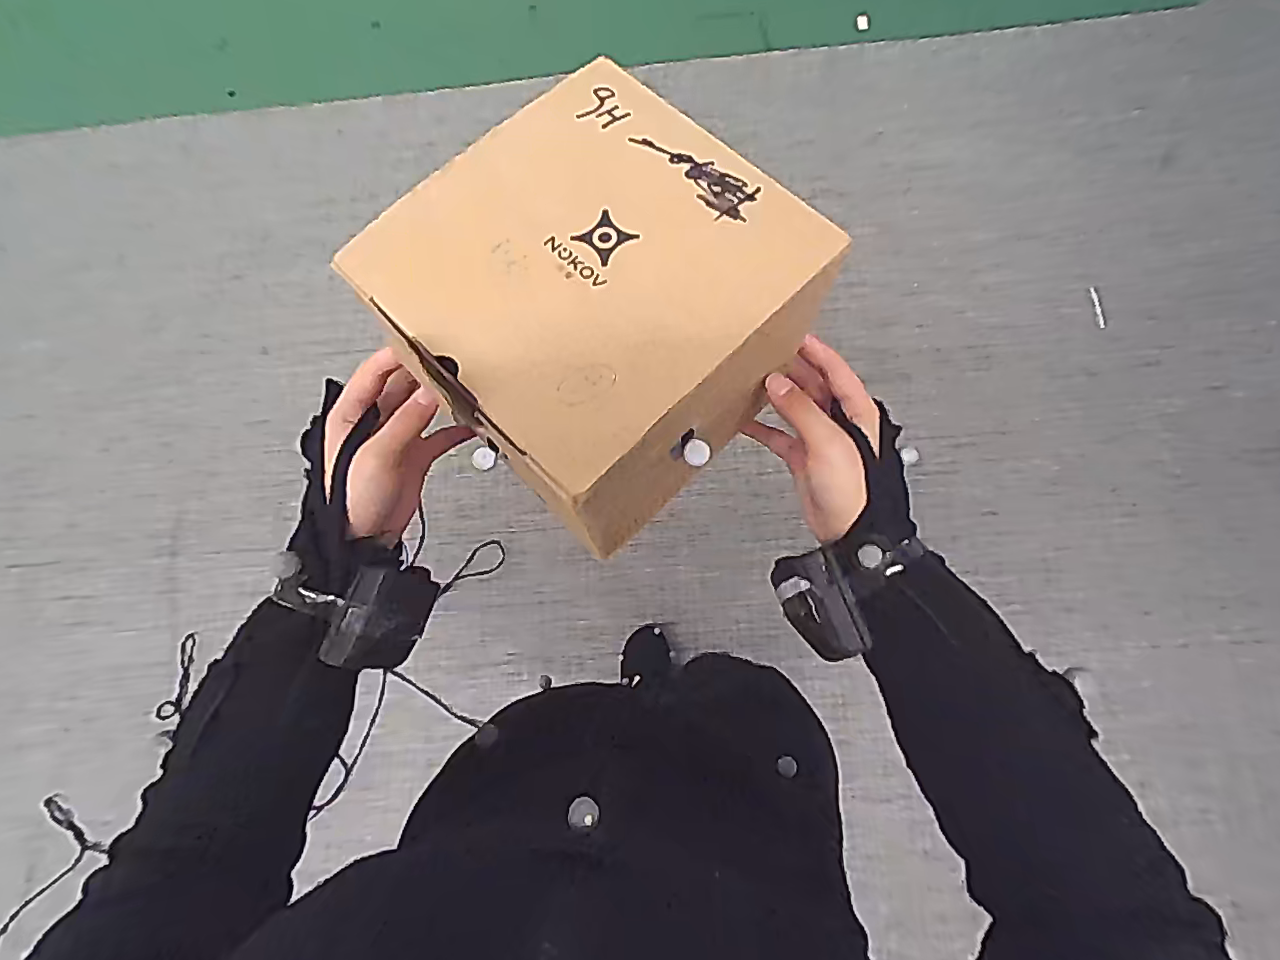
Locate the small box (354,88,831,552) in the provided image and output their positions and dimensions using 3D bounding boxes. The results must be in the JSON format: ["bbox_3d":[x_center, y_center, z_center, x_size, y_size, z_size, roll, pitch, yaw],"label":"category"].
[{"bbox_3d":[-0.021,-0.077,0.335,0.168,0.176,0.179,43,79,12],"label":"small box"}]
